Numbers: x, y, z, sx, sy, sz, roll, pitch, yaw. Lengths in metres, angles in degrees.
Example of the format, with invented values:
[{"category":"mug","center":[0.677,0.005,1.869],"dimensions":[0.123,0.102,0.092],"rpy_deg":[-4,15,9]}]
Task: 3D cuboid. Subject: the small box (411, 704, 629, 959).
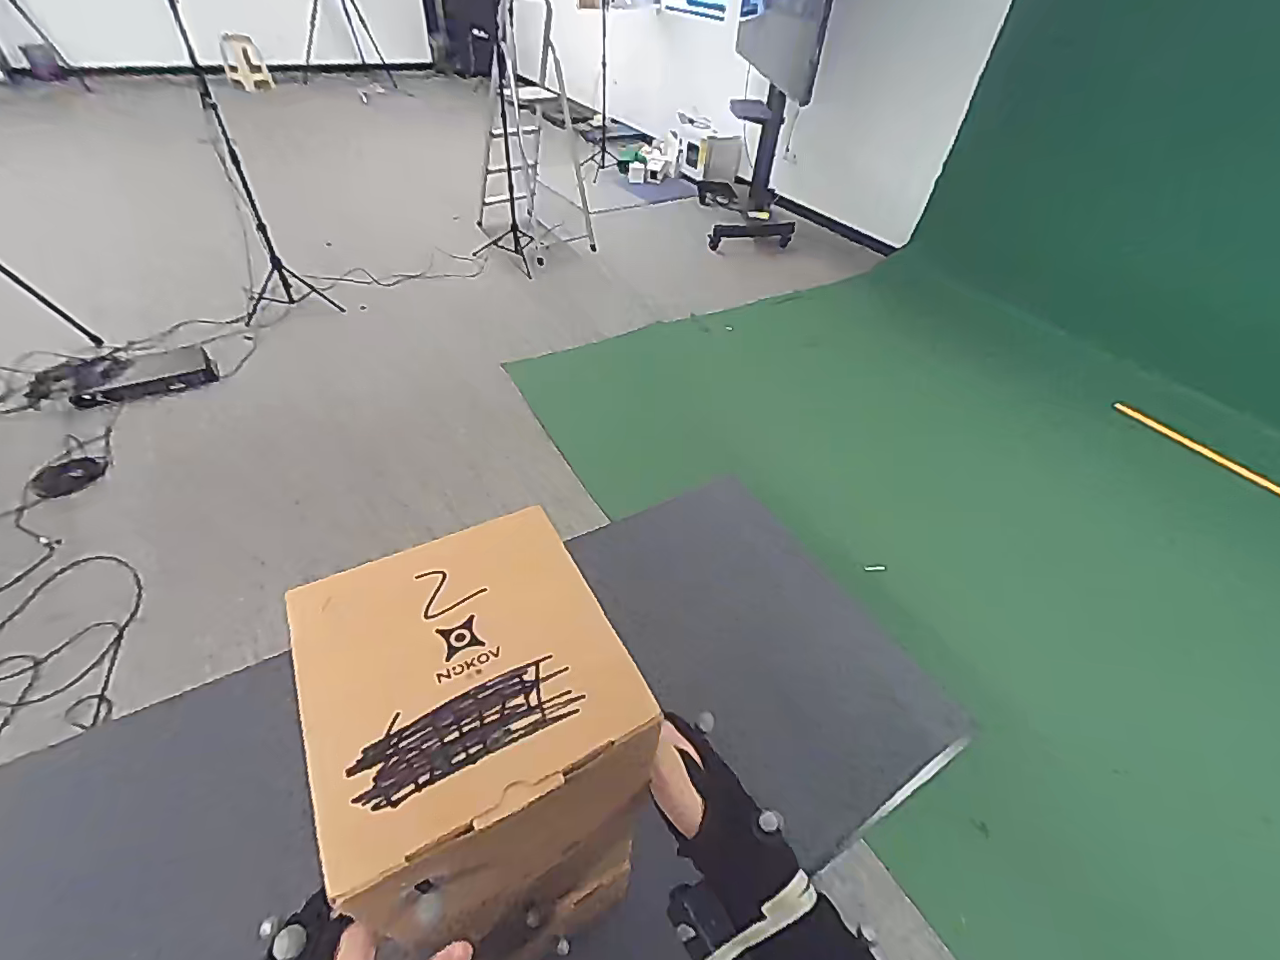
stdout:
[{"category":"small box","center":[-0.128,0.388,0.583],"dimensions":[0.168,0.176,0.179],"rpy_deg":[-20,49,-24]}]
